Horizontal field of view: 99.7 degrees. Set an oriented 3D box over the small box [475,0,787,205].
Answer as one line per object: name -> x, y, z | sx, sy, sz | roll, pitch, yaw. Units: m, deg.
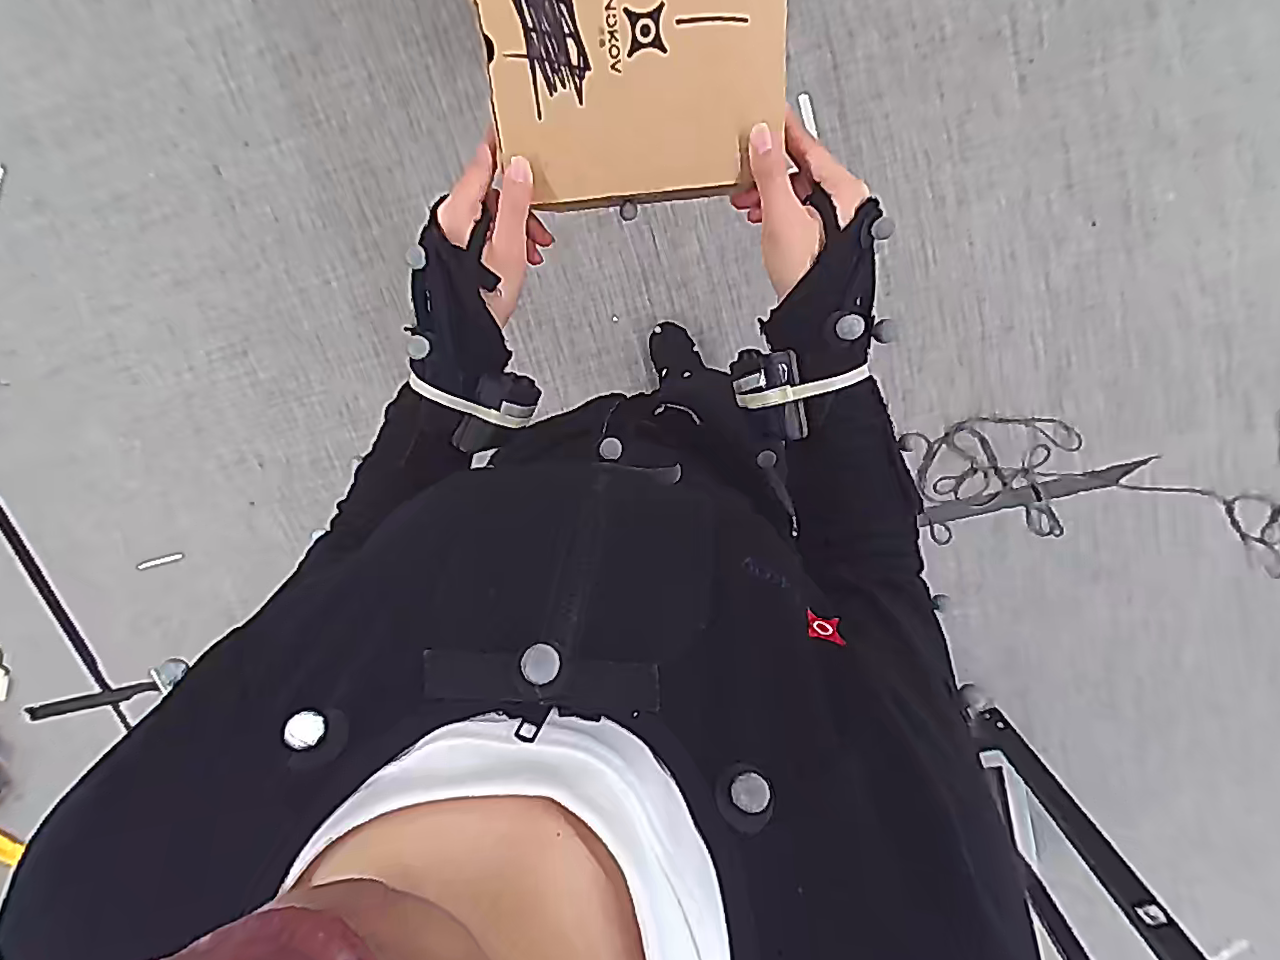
small box -> -0.002, -0.291, 0.374 | 0.179, 0.176, 0.168 | -4, 115, 4
